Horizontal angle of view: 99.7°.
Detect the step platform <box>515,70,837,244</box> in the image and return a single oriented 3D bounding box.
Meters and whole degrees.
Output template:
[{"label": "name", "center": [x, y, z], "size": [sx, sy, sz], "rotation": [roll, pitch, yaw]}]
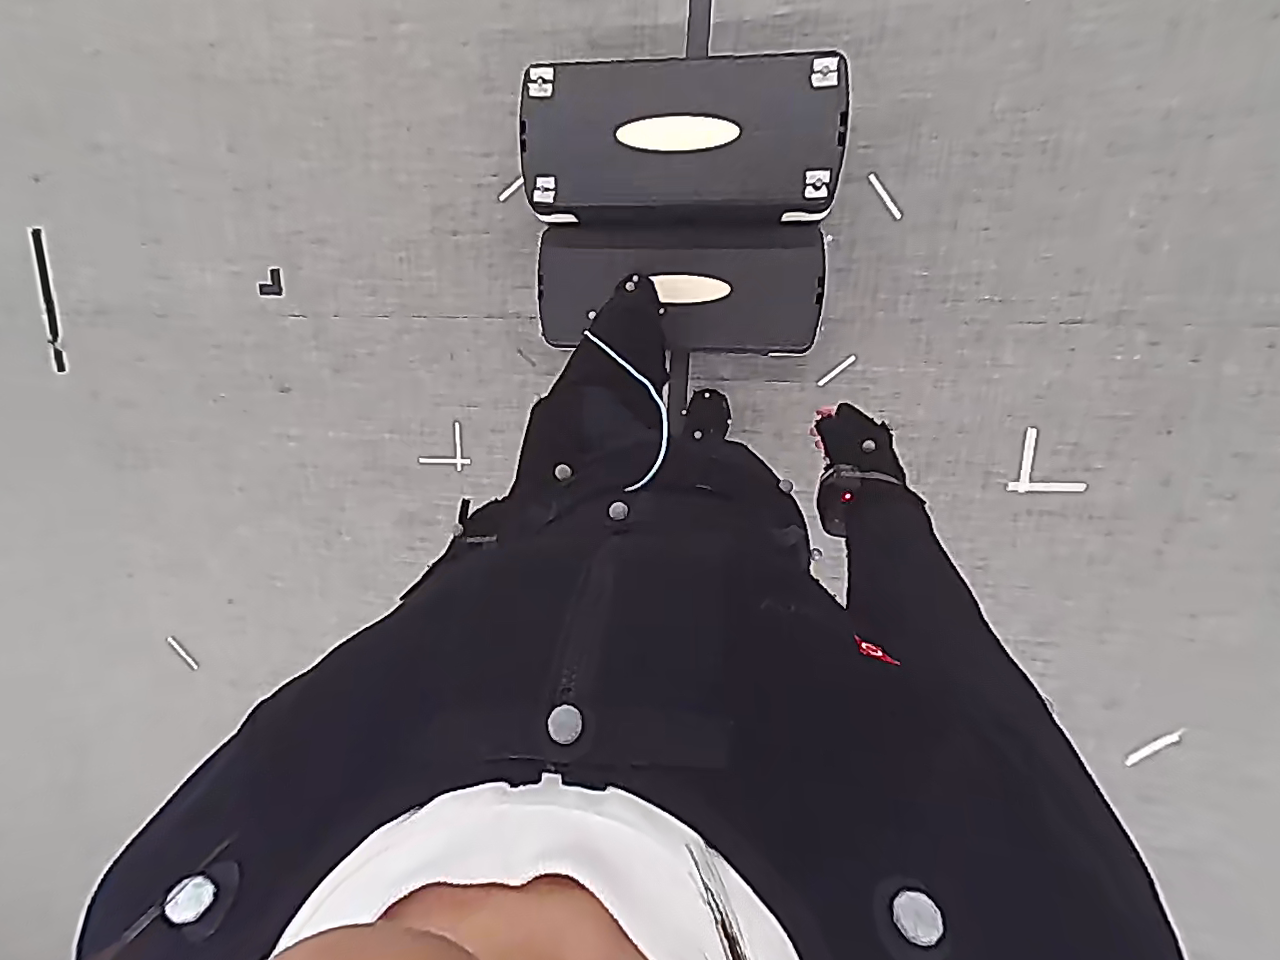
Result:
[{"label": "step platform", "center": [0.073, -0.695, 1.193], "size": [0.684, 0.204, 0.286], "rotation": [2, 104, 7]}]
